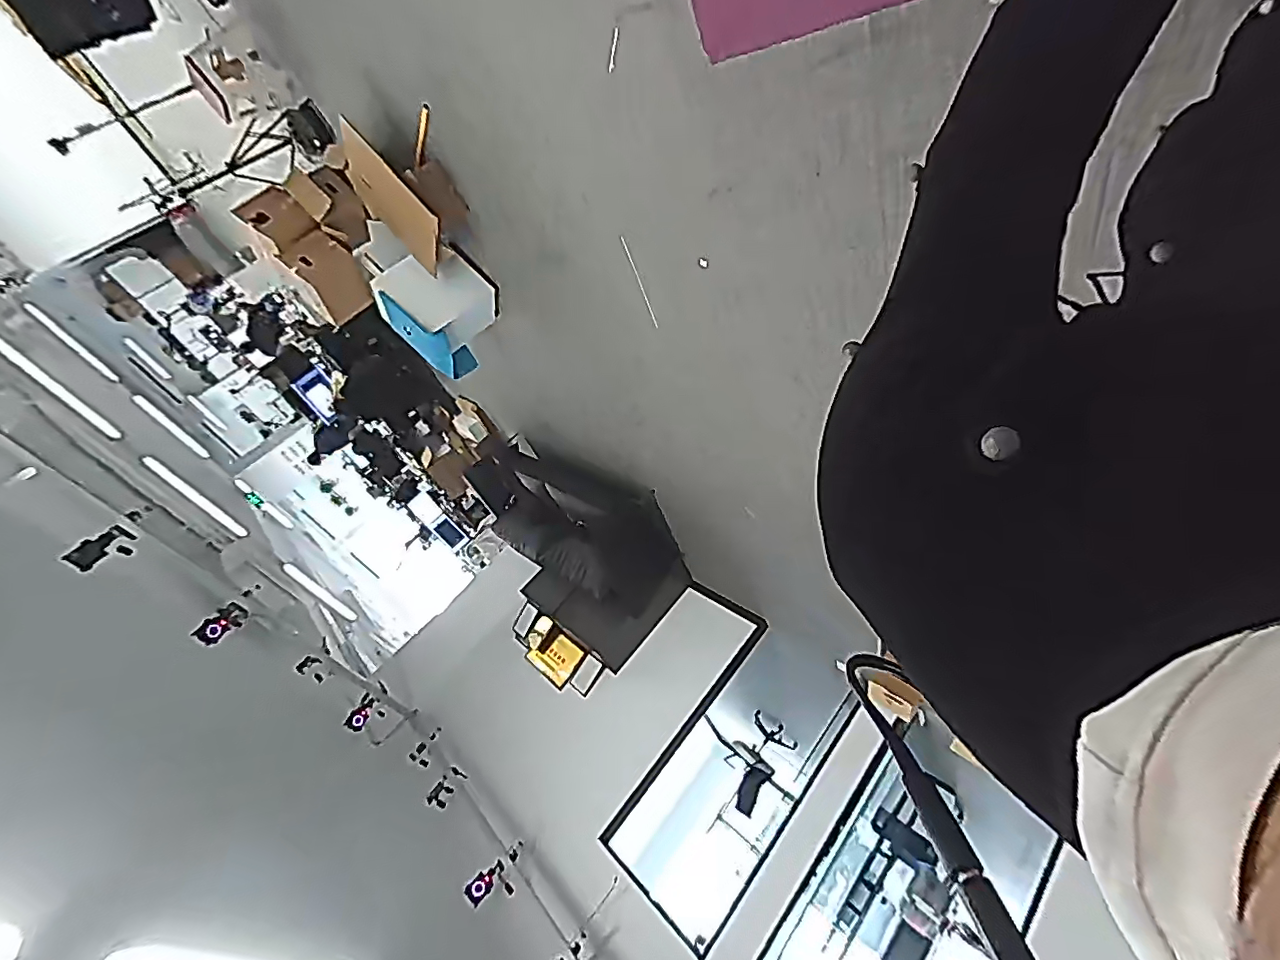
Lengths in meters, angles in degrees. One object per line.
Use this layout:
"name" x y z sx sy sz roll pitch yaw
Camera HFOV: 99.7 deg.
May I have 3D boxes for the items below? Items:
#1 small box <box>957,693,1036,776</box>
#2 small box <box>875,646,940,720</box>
"small box" 1.228 0.874 1.864 0.168 0.176 0.179 27 153 37
"small box" 1.018 0.767 2.058 0.168 0.176 0.179 28 153 39
